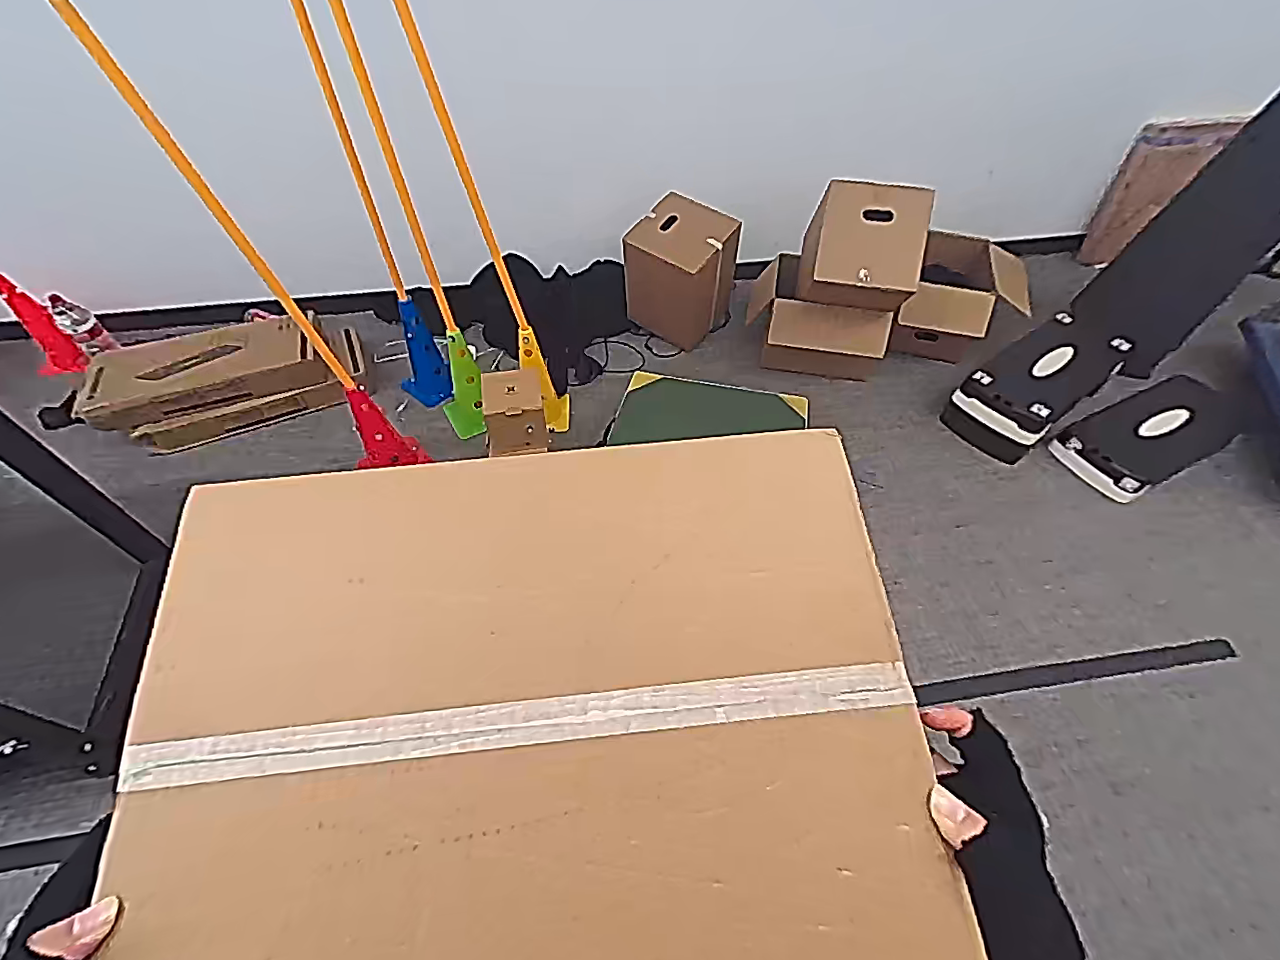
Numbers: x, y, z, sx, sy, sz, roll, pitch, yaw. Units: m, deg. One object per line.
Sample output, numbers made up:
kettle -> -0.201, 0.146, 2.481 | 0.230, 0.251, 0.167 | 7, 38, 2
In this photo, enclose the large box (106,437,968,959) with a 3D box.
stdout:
large box -> -0.059, 0.190, 0.428 | 0.408, 0.320, 0.320 | -5, 67, -2
